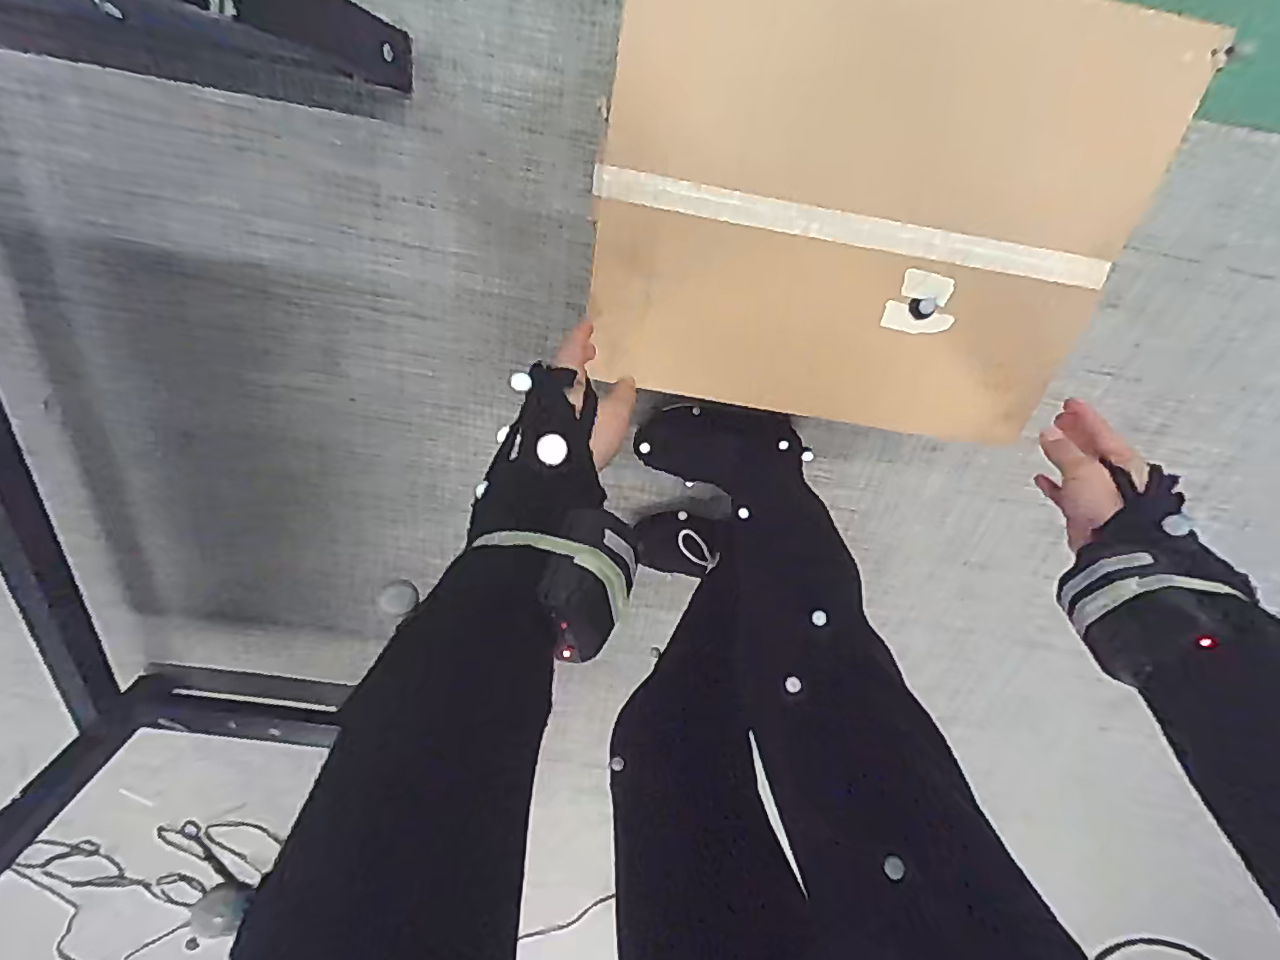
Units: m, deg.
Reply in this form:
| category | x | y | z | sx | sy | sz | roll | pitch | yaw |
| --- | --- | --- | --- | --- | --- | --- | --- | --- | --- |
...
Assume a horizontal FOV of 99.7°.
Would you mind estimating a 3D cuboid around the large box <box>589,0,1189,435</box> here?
| category | x | y | z | sx | sy | sz | roll | pitch | yaw |
| --- | --- | --- | --- | --- | --- | --- | --- | --- | --- |
| large box | 0.169 | -0.267 | 0.566 | 0.408 | 0.320 | 0.320 | 8 | 117 | -4 |
